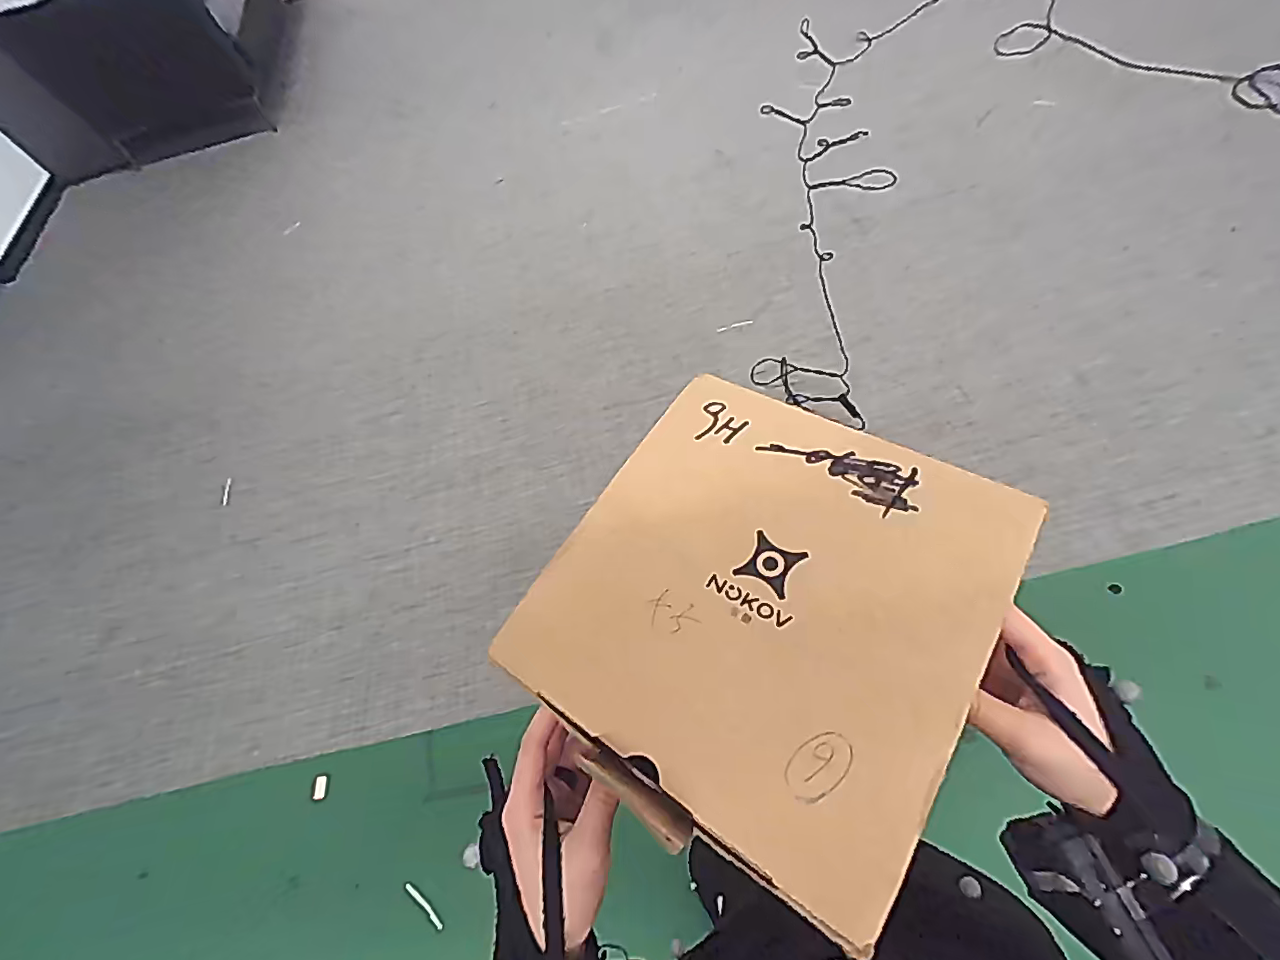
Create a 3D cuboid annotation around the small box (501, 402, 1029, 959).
[{"bbox_3d":[0.065,0.096,0.296,0.168,0.176,0.179,27,68,26],"label":"small box"}]
